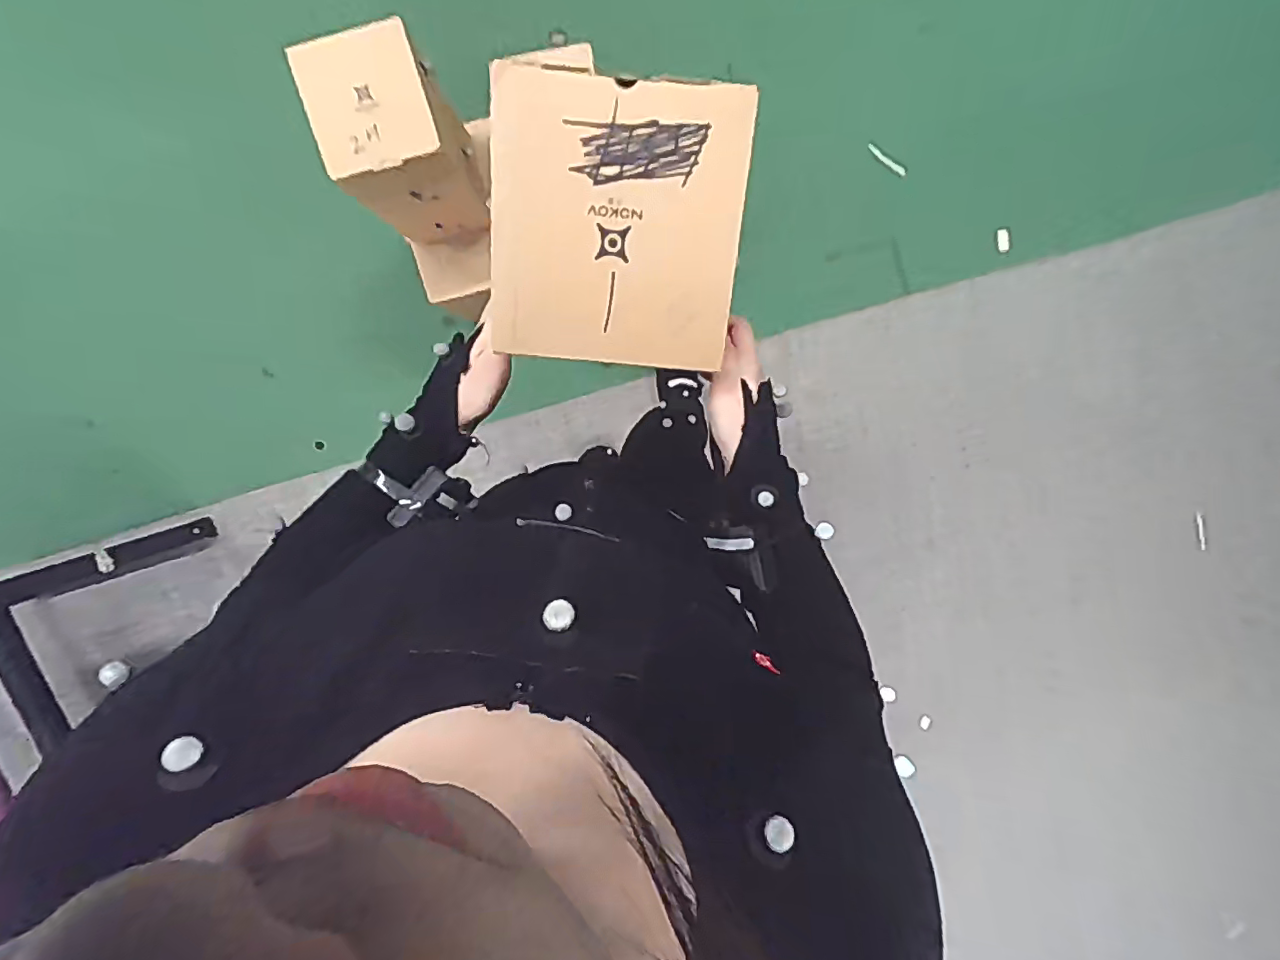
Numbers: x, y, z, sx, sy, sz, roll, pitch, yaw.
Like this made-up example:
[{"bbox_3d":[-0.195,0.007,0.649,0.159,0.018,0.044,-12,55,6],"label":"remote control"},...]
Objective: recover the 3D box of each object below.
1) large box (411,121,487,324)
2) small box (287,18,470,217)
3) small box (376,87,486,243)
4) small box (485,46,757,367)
[{"bbox_3d":[-0.279,-0.575,1.227,0.408,0.320,0.320,-15,100,0],"label":"large box"},{"bbox_3d":[-0.379,-0.531,0.818,0.168,0.176,0.179,-16,99,1],"label":"small box"},{"bbox_3d":[-0.387,-0.558,0.981,0.168,0.176,0.179,-15,99,0],"label":"small box"},{"bbox_3d":[-0.018,-0.192,0.422,0.168,0.176,0.179,4,109,-1],"label":"small box"}]
